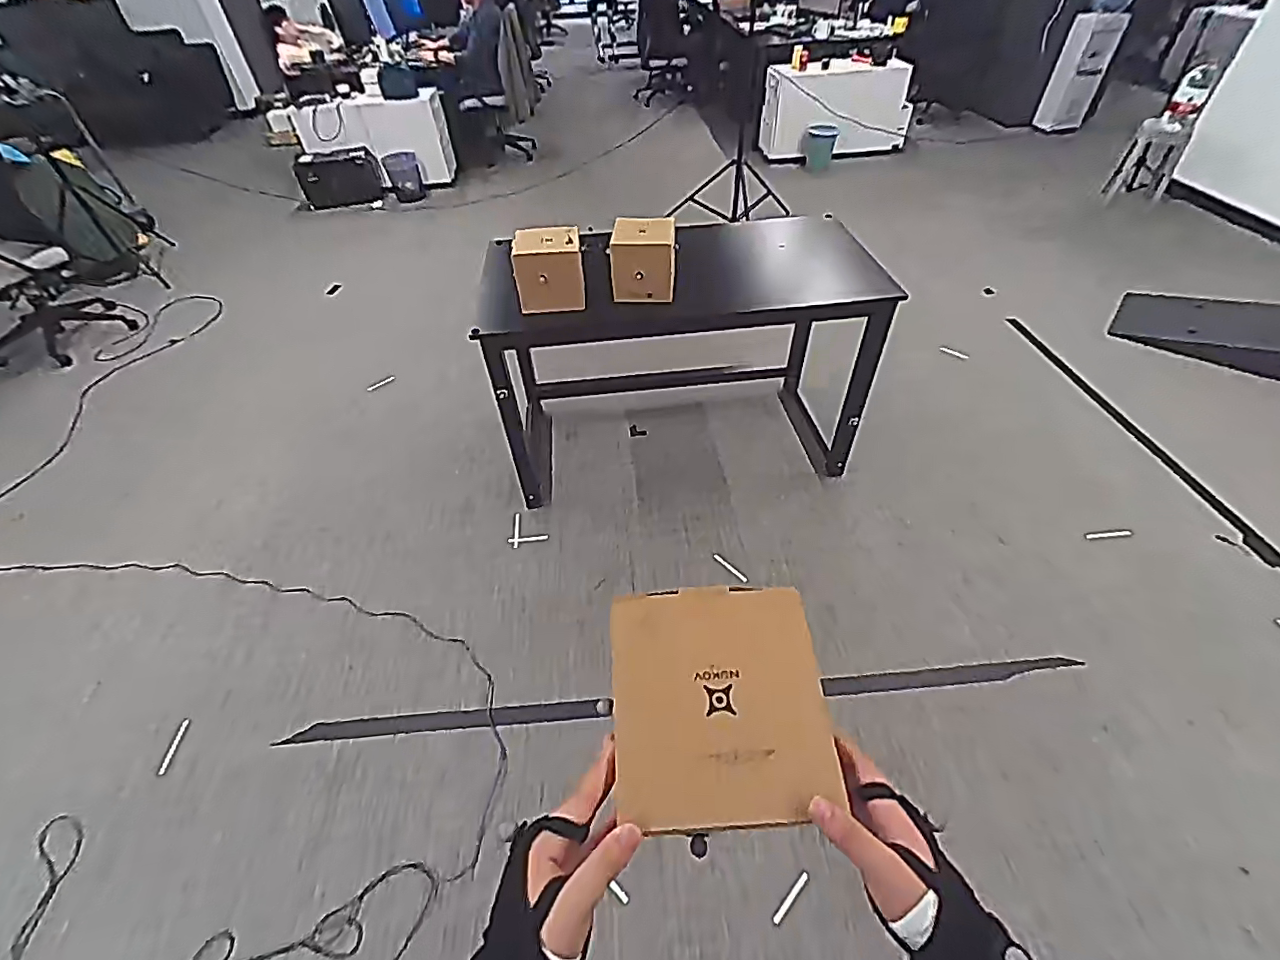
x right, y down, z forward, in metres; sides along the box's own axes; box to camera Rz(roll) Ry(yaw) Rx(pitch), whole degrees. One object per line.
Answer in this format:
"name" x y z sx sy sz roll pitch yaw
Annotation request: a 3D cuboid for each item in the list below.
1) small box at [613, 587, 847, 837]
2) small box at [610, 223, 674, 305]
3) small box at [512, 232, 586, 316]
"small box" 0.059 0.213 0.491 0.168 0.176 0.179 -2 56 -3
"small box" 0.011 -0.612 1.536 0.168 0.176 0.179 2 46 5
"small box" -0.249 -0.574 1.515 0.179 0.176 0.168 -5 46 -1
